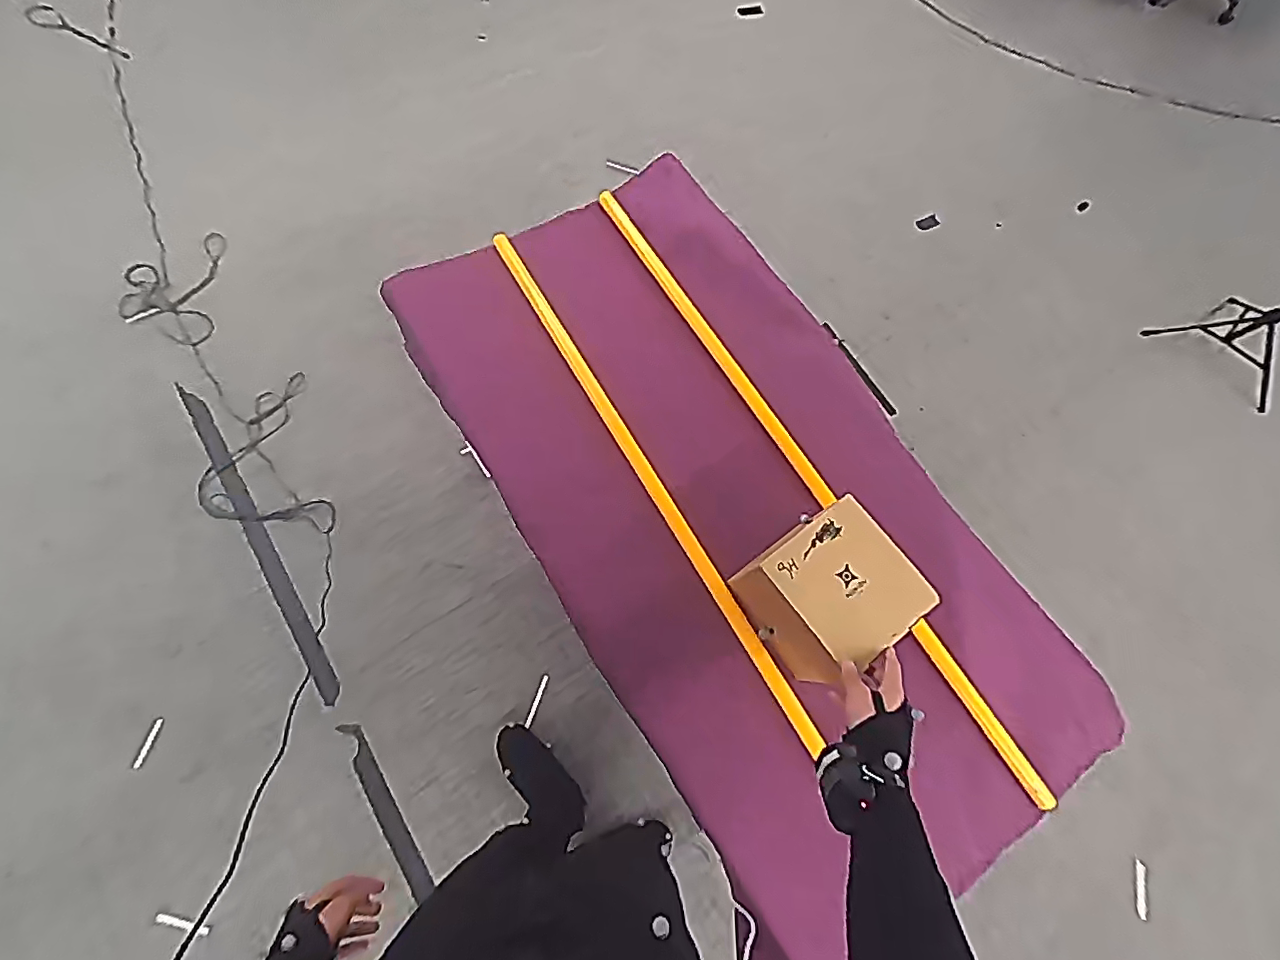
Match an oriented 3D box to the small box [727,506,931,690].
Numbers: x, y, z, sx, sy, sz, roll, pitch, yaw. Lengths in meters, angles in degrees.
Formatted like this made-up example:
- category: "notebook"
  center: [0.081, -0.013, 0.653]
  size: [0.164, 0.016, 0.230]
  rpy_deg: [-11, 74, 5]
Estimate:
- category: "small box"
  center: [0.250, 0.166, 0.759]
  size: [0.168, 0.176, 0.179]
  rpy_deg: [-33, 79, -16]
